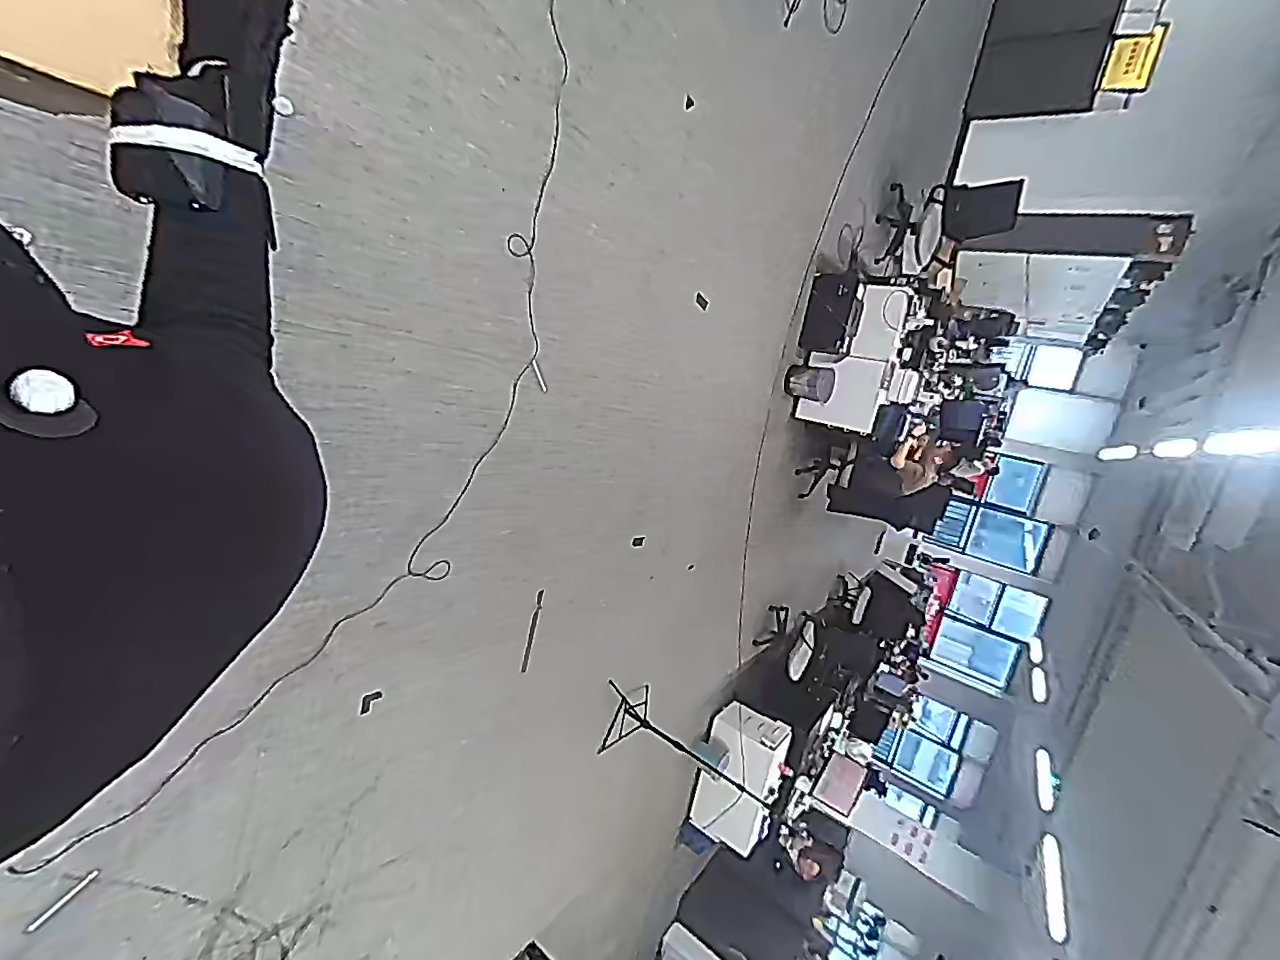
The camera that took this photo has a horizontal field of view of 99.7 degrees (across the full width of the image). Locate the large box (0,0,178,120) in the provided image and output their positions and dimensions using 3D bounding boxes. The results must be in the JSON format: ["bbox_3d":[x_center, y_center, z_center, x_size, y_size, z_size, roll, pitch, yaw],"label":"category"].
[{"bbox_3d":[-0.524,-0.427,0.251,0.408,0.320,0.320,-10,119,-57],"label":"large box"}]
